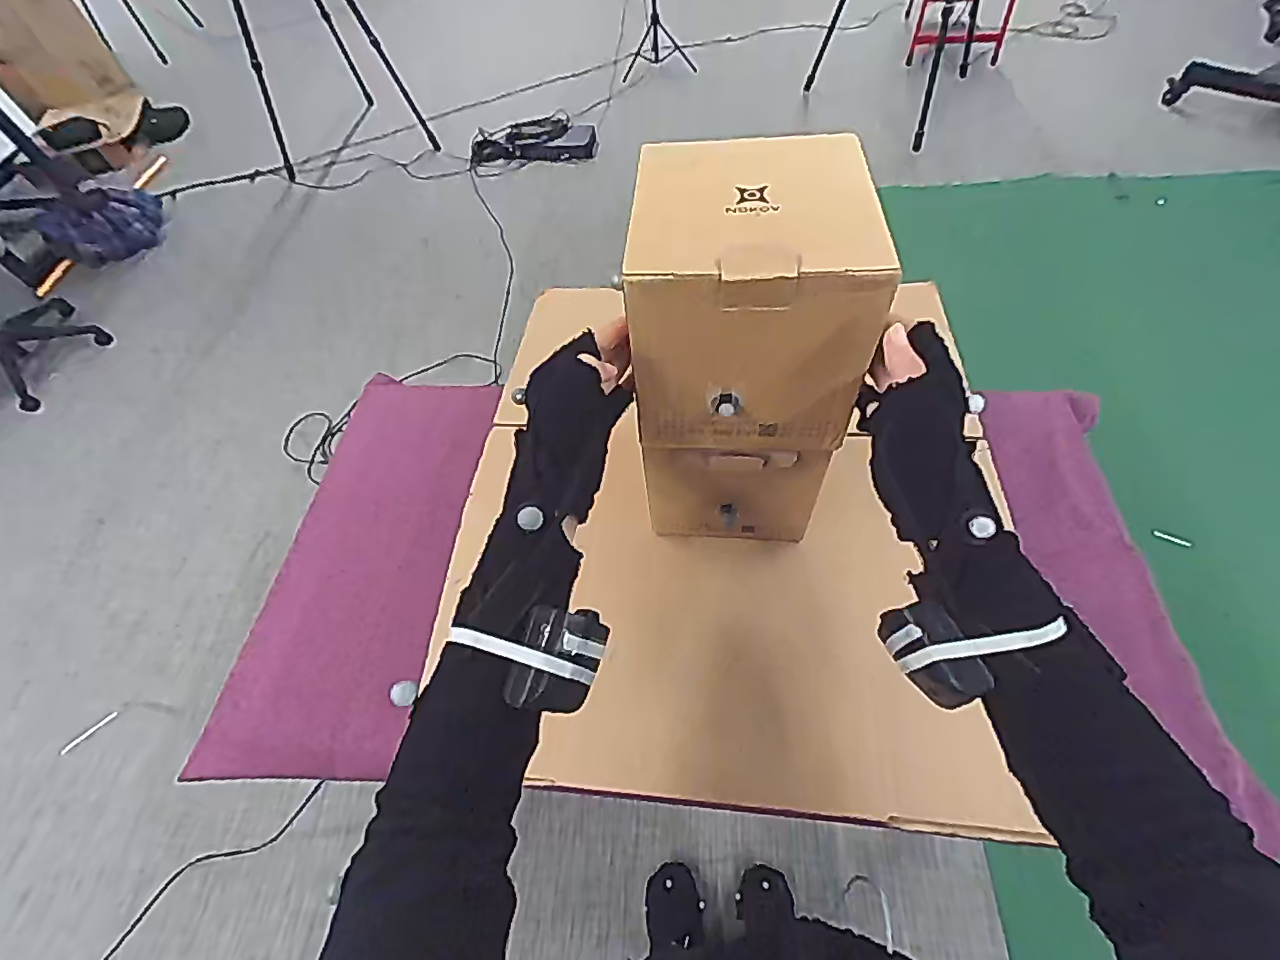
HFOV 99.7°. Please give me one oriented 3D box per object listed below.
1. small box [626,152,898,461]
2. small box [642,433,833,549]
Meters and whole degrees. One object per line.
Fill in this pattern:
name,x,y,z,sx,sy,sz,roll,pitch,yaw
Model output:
small box,0.083,-0.135,0.438,0.168,0.176,0.179,1,56,6
small box,0.098,-0.047,0.575,0.168,0.176,0.179,2,56,8
